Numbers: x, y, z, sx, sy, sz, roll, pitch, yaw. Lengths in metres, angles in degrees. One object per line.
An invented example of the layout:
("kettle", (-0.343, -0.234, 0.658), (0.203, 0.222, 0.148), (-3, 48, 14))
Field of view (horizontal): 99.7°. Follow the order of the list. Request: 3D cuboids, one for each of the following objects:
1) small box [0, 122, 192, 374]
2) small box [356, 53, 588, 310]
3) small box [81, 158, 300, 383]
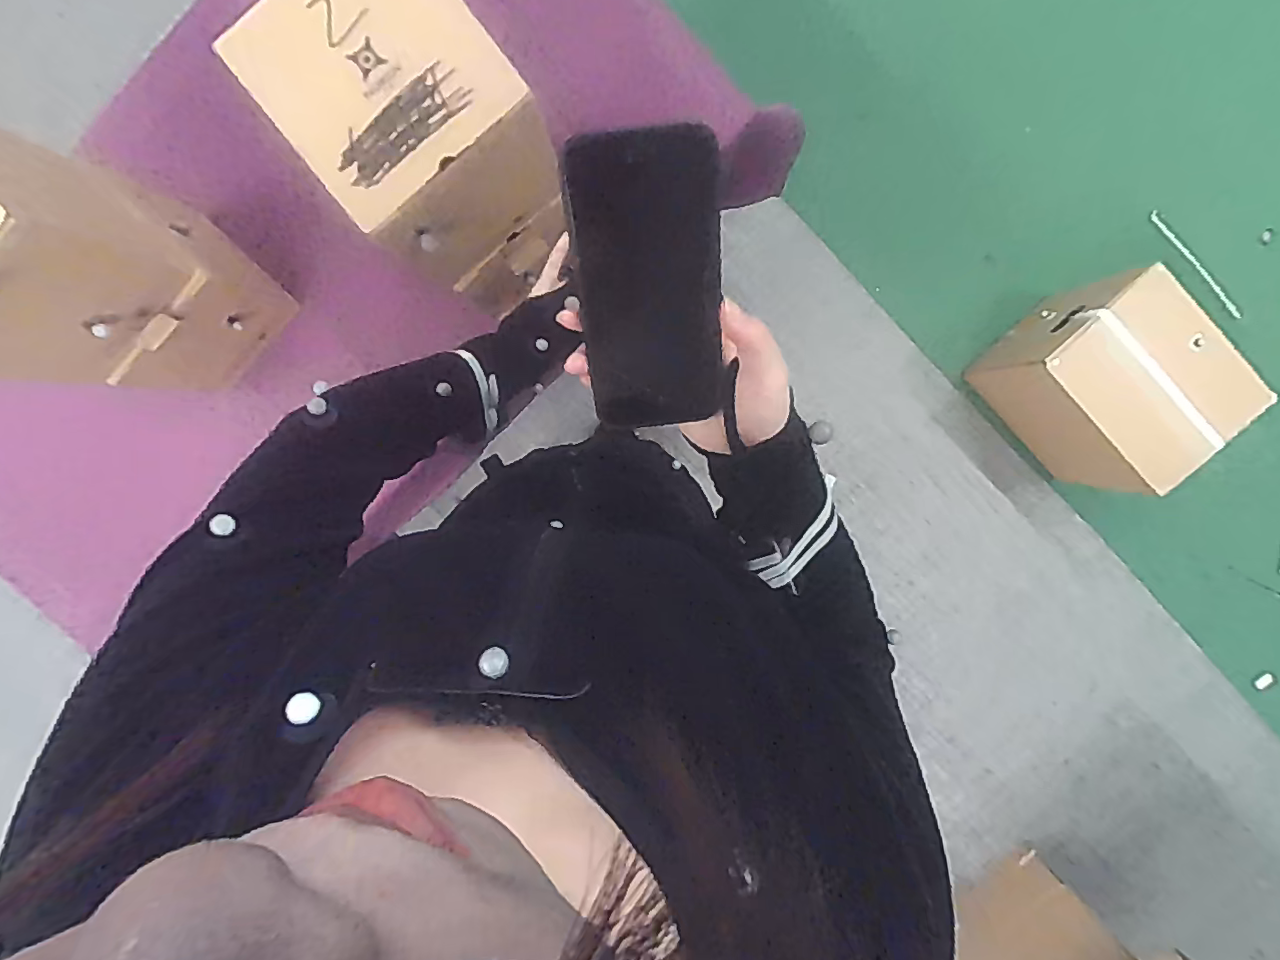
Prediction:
("small box", (-0.588, -0.215, 0.497), (0.179, 0.176, 0.168), (44, 95, -4))
("small box", (-0.181, -0.330, 0.642), (0.168, 0.176, 0.179), (-40, 95, 5))
("small box", (-0.571, -0.234, 0.660), (0.168, 0.176, 0.179), (-45, 93, 5))
